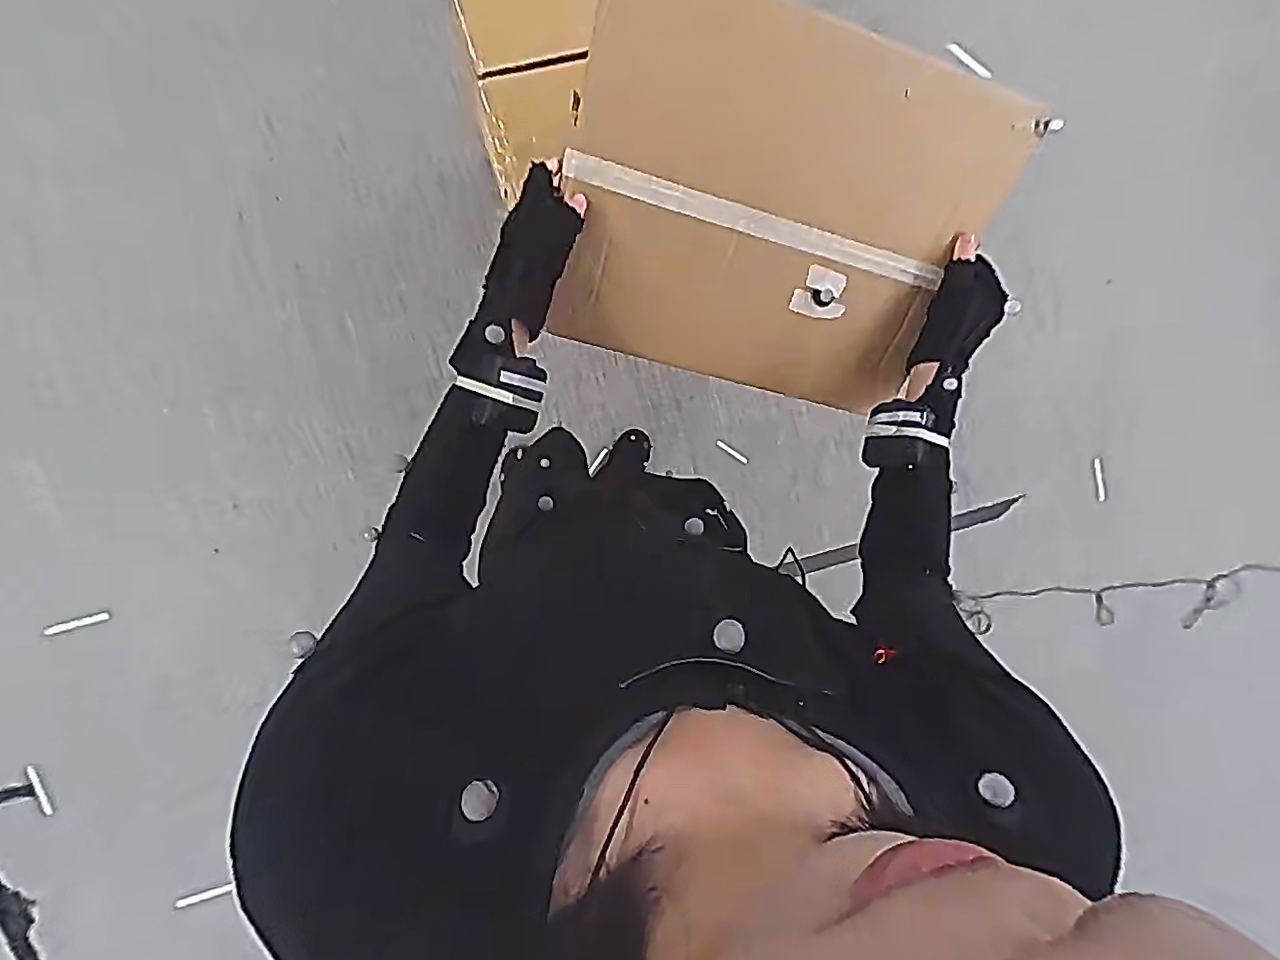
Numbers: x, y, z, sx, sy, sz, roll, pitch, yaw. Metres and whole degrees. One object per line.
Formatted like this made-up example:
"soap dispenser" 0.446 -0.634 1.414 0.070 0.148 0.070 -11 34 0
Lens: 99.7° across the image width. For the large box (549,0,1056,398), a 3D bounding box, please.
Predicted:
"large box" 0.122 -0.329 0.630 0.408 0.320 0.320 11 121 -11
